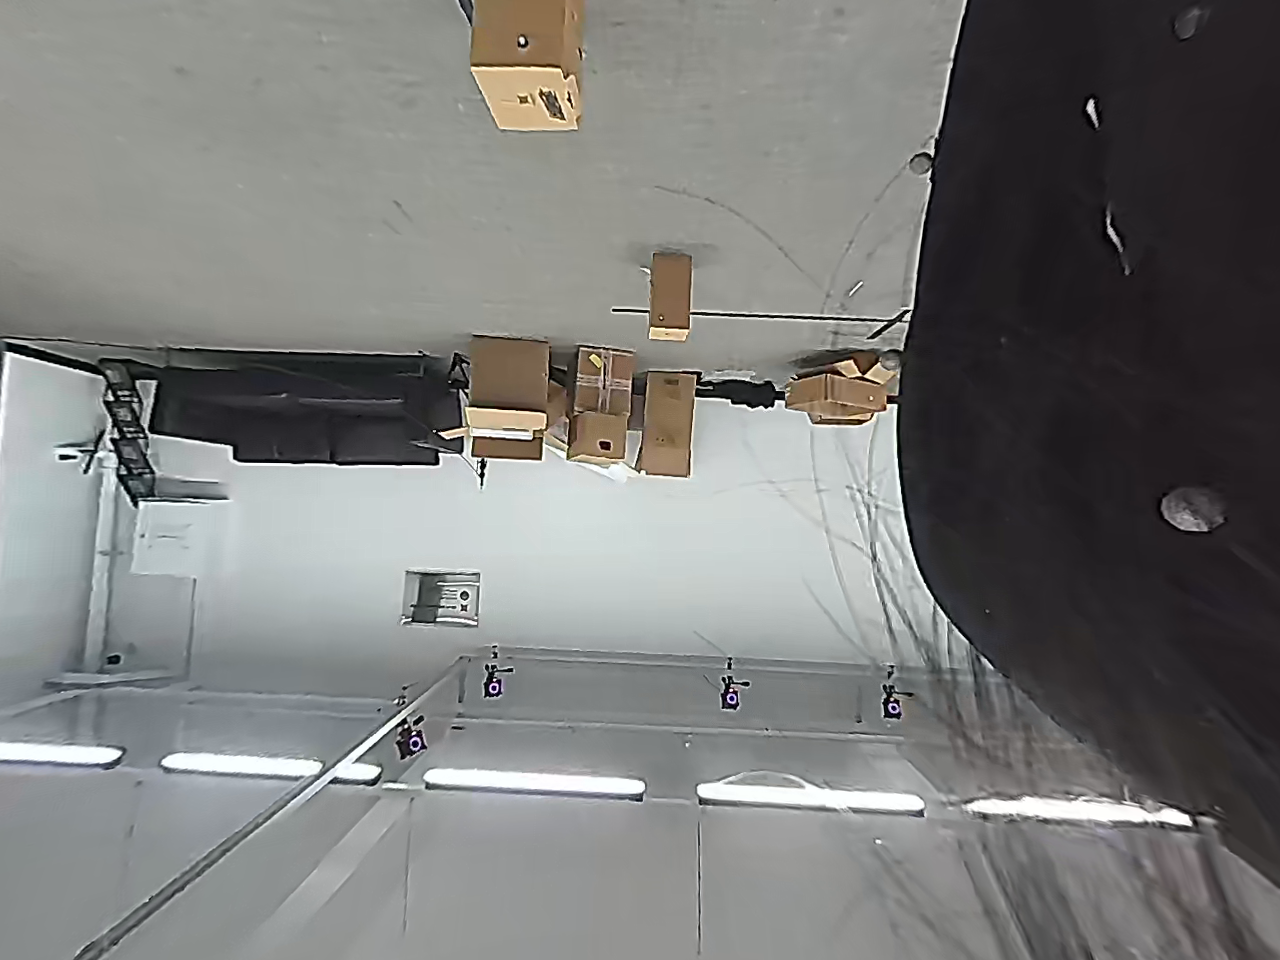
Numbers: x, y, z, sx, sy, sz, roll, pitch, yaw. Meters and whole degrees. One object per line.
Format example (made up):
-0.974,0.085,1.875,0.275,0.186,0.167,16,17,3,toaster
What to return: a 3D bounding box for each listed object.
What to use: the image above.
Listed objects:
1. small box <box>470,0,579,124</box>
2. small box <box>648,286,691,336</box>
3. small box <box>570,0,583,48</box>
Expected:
-0.217,-0.836,1.057,0.179,0.176,0.168,3,177,5,small box
0.129,-0.762,2.433,0.179,0.176,0.168,2,178,-3,small box
-0.210,-1.000,1.069,0.179,0.176,0.168,3,177,6,small box
